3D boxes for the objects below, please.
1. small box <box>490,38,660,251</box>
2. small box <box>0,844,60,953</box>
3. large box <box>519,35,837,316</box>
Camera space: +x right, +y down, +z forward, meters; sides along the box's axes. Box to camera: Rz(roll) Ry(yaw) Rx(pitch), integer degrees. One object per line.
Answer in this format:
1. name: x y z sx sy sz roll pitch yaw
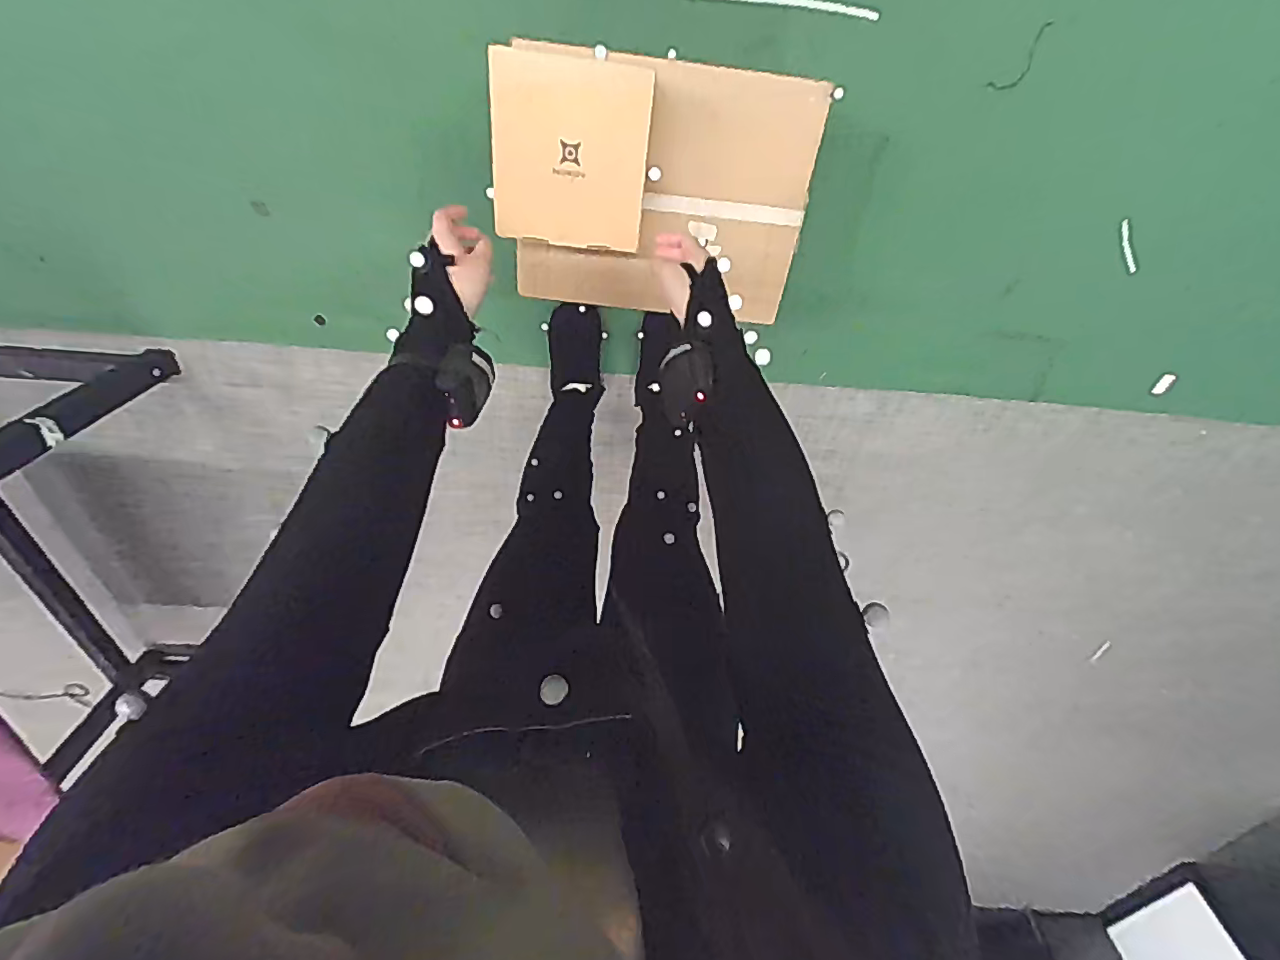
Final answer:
1. small box: -0.072 -0.385 0.628 0.168 0.176 0.179 5 126 -3
2. small box: -1.242 0.777 0.976 0.179 0.176 0.168 4 127 0
3. large box: 0.031 -0.477 0.860 0.408 0.320 0.320 5 127 -3
